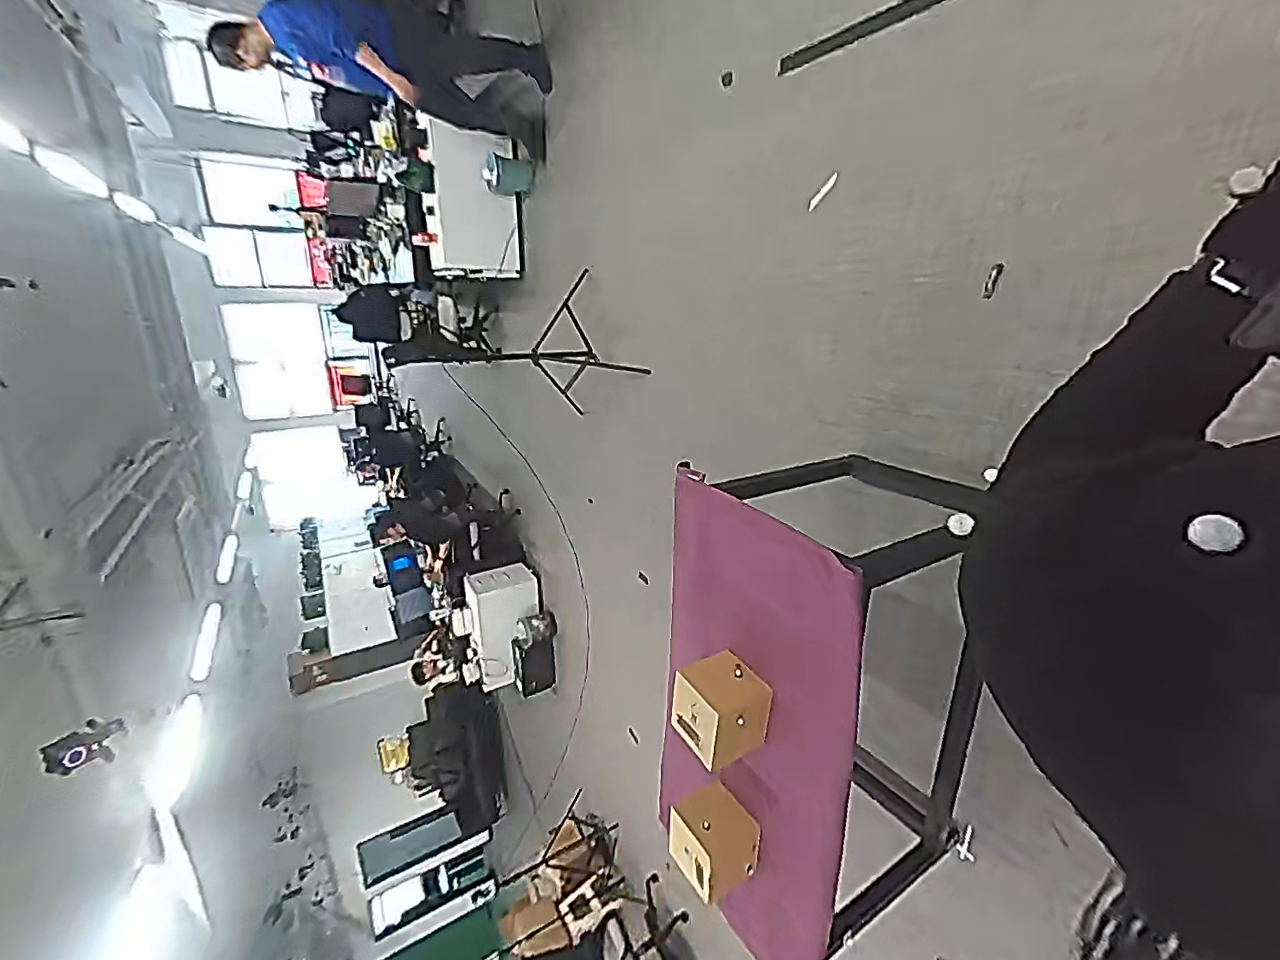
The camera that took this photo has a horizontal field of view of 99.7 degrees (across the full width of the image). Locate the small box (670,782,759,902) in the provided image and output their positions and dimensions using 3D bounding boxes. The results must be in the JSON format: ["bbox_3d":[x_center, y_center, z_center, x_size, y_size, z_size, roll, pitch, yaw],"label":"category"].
[{"bbox_3d":[0.198,0.956,1.446,0.179,0.176,0.168,28,122,54],"label":"small box"}]
